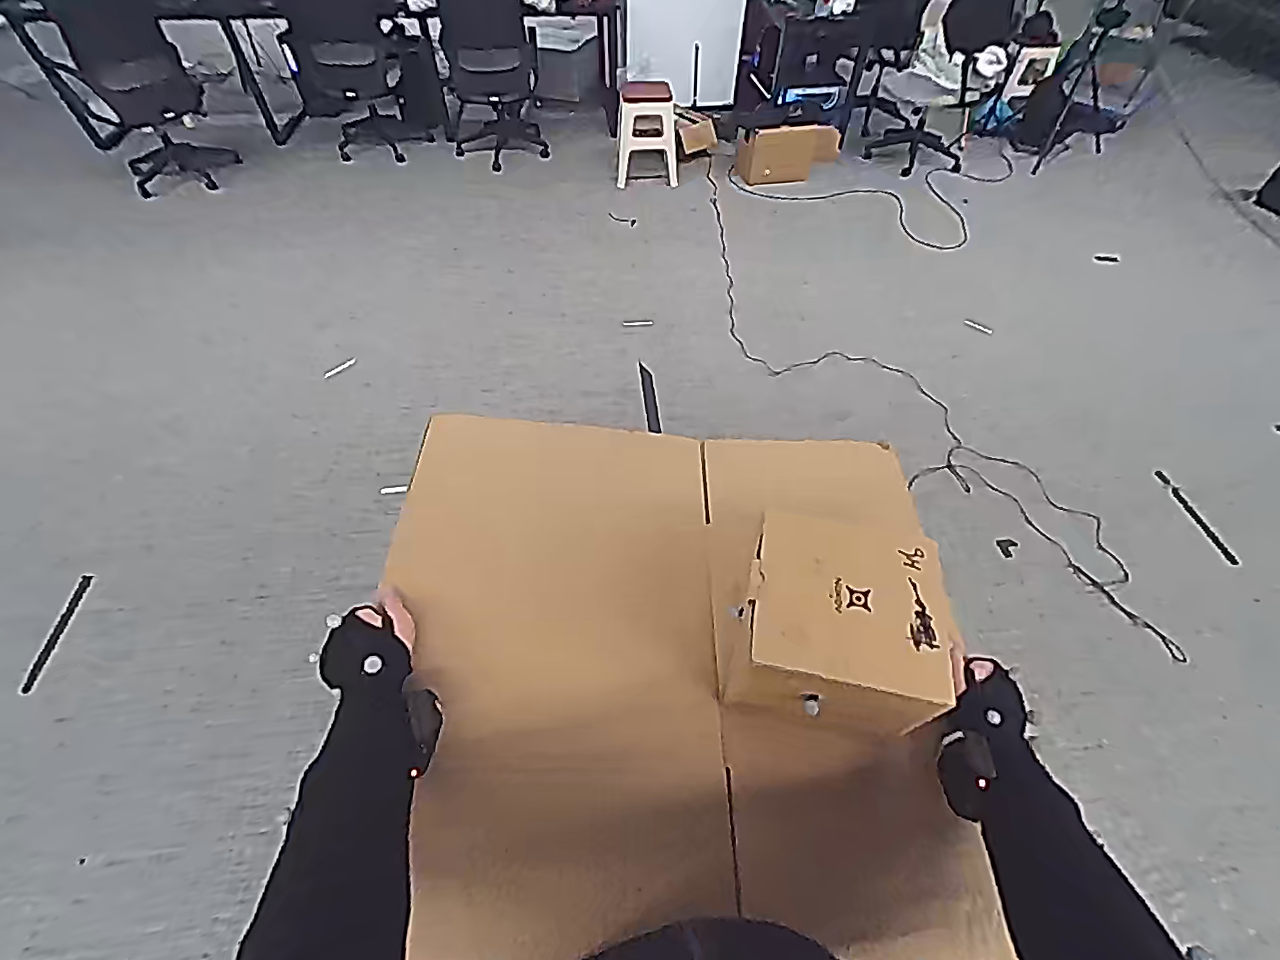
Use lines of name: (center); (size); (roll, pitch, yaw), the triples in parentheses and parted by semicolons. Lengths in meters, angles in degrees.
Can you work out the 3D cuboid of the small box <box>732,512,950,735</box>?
small box: (0.200, 0.158, 0.582); (0.179, 0.176, 0.168); (9, 55, 8)
